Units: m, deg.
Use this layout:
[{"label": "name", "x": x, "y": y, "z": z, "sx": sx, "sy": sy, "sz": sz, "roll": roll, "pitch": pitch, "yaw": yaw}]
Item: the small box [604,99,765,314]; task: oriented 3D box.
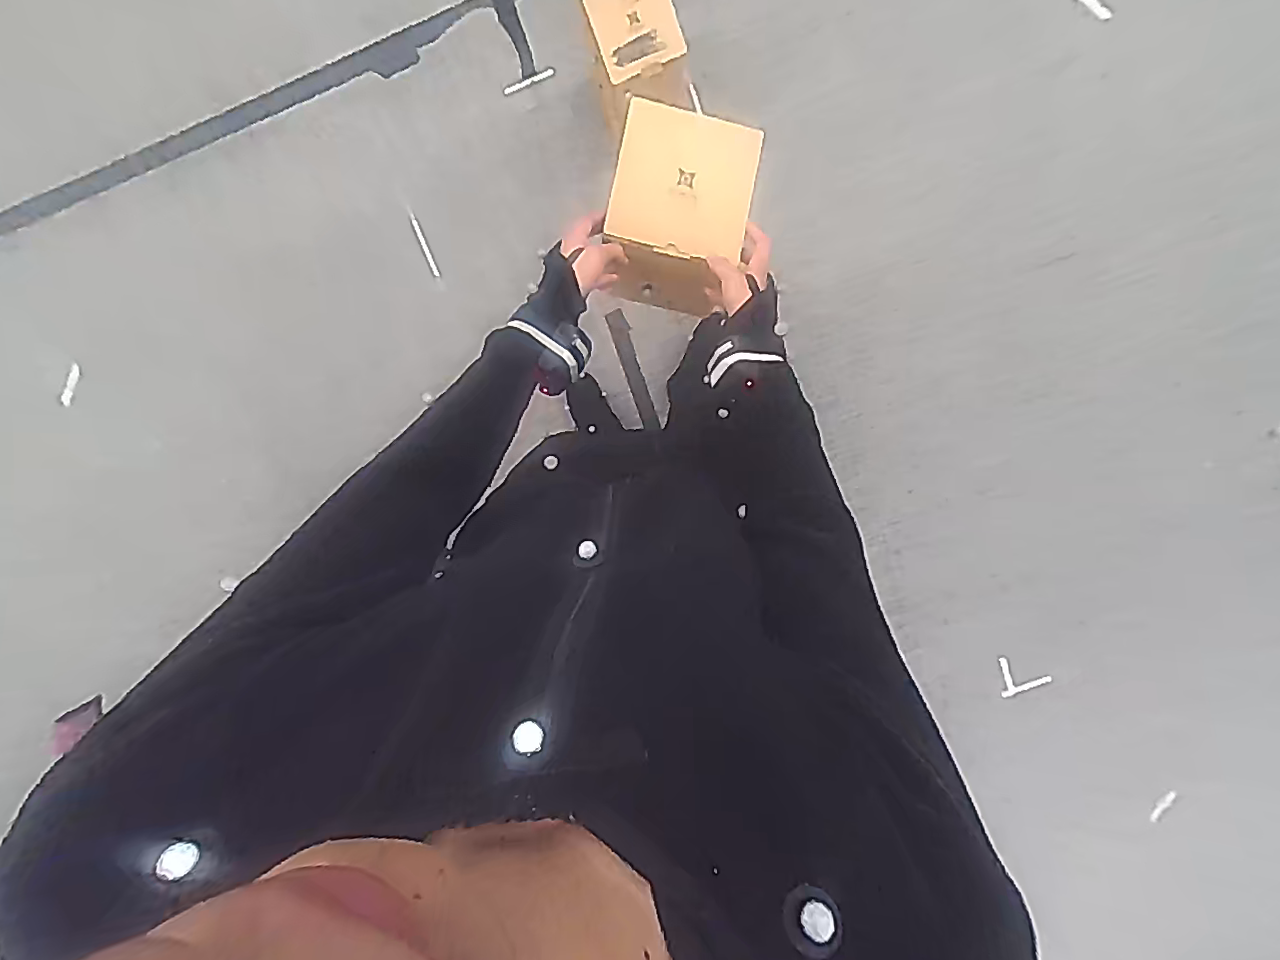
[{"label": "small box", "x": 0.047, "y": -0.345, "z": 0.716, "sx": 0.168, "sy": 0.176, "sz": 0.179, "roll": 11, "pitch": 87, "yaw": -5}]

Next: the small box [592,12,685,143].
[{"label": "small box", "x": -0.005, "y": -0.956, "z": 1.304, "sx": 0.168, "sy": 0.176, "sz": 0.179, "roll": -23, "pitch": 105, "yaw": 5}]
